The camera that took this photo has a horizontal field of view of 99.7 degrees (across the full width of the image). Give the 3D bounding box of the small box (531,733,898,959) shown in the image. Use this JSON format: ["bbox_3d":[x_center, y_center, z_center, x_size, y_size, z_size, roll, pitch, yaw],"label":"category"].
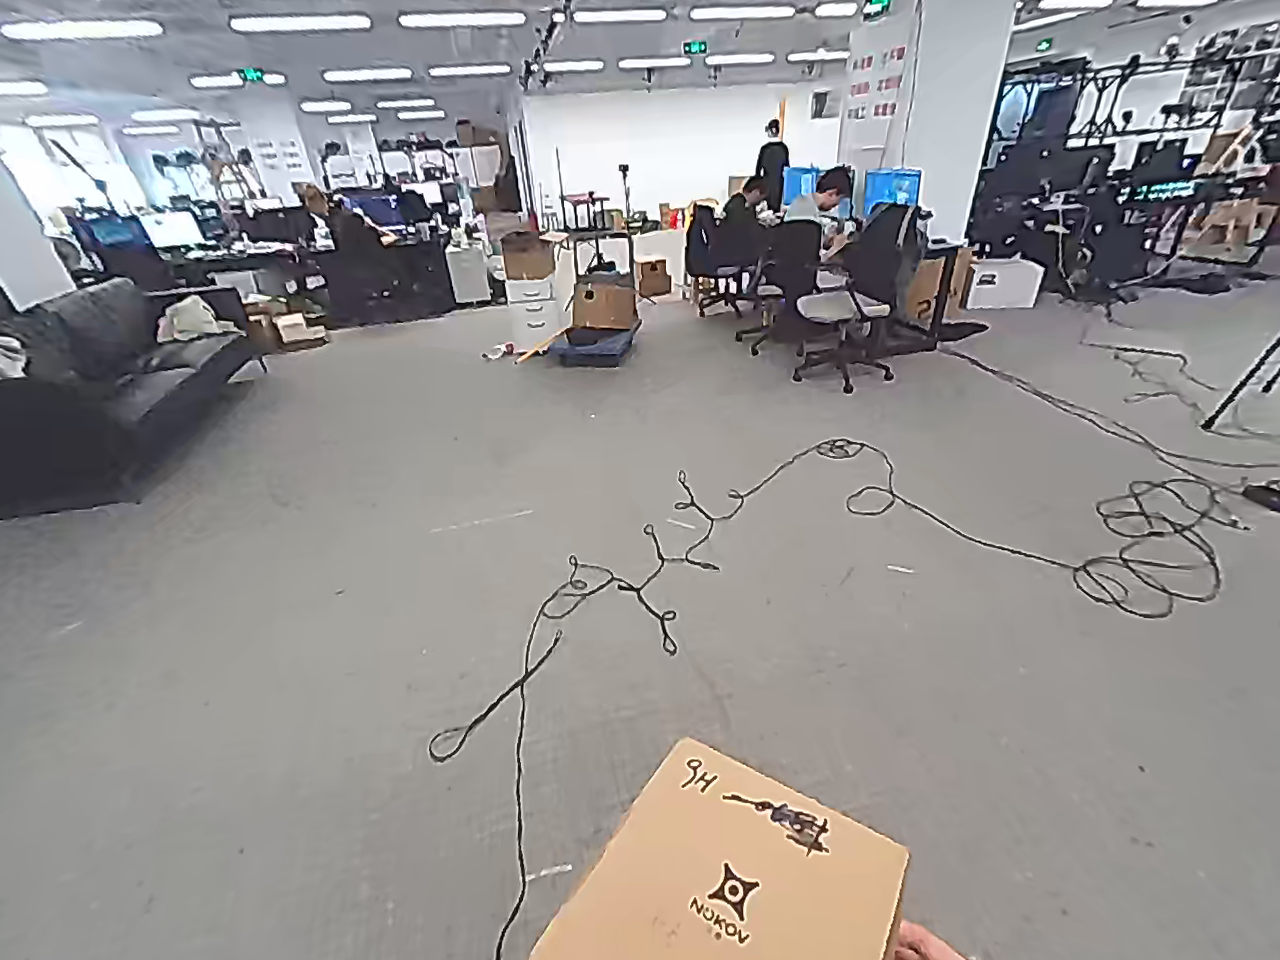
[{"bbox_3d":[0.060,0.322,0.361,0.168,0.176,0.179,12,32,35],"label":"small box"}]
